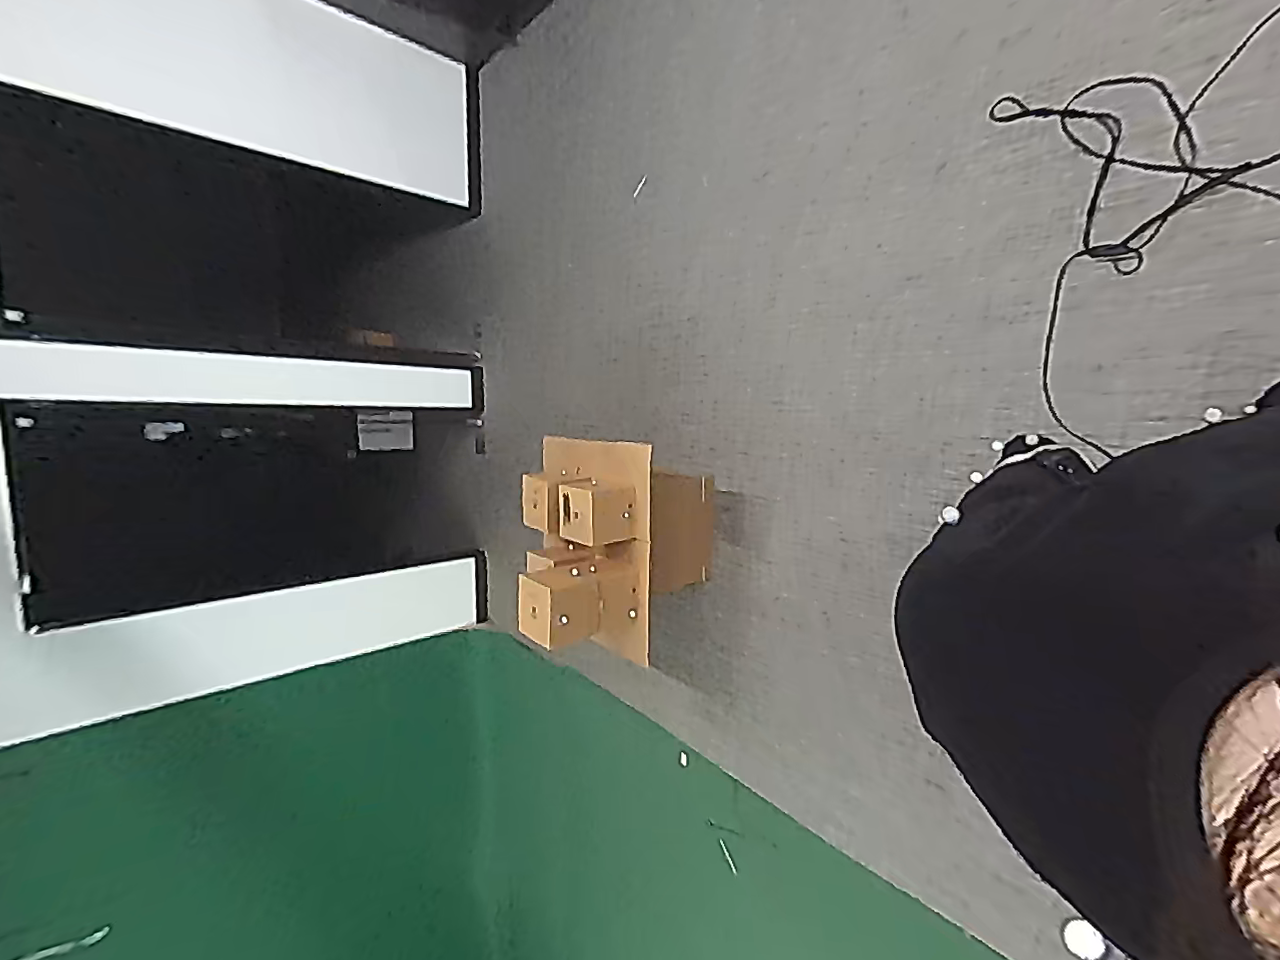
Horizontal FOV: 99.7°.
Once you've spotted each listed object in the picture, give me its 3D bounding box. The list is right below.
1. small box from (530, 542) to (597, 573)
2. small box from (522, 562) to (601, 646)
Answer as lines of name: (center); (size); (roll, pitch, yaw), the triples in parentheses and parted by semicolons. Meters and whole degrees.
small box: (-0.263, 0.315, 1.854); (0.179, 0.176, 0.168); (8, 101, 50)
small box: (-0.228, 0.352, 1.569); (0.168, 0.176, 0.179); (12, 102, 47)
